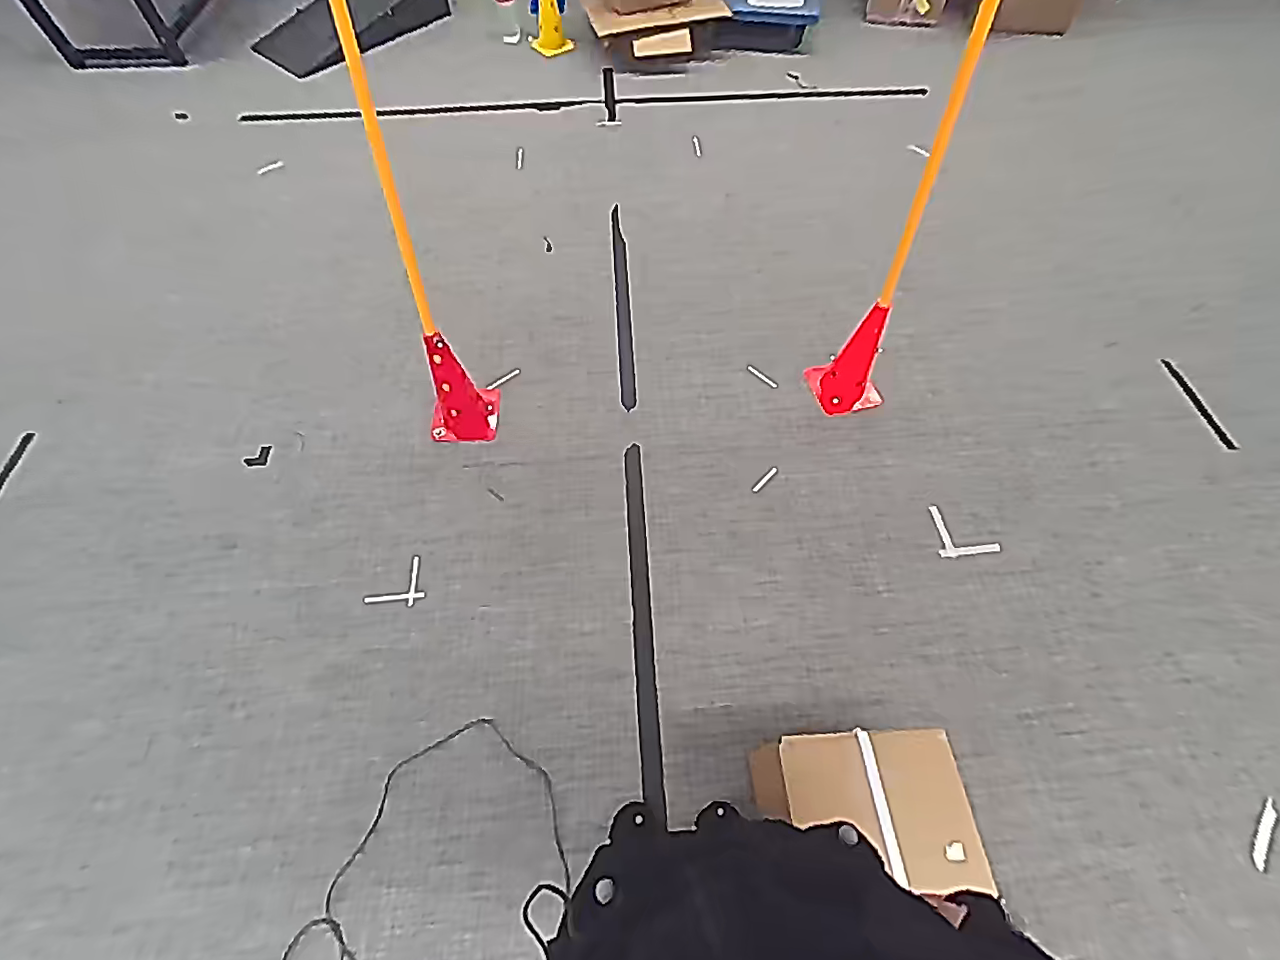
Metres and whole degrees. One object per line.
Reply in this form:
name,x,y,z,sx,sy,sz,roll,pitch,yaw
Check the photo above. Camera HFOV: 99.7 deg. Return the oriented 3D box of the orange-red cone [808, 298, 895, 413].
orange-red cone,0.664,-0.389,1.601,0.199,0.360,0.198,-11,62,-8
